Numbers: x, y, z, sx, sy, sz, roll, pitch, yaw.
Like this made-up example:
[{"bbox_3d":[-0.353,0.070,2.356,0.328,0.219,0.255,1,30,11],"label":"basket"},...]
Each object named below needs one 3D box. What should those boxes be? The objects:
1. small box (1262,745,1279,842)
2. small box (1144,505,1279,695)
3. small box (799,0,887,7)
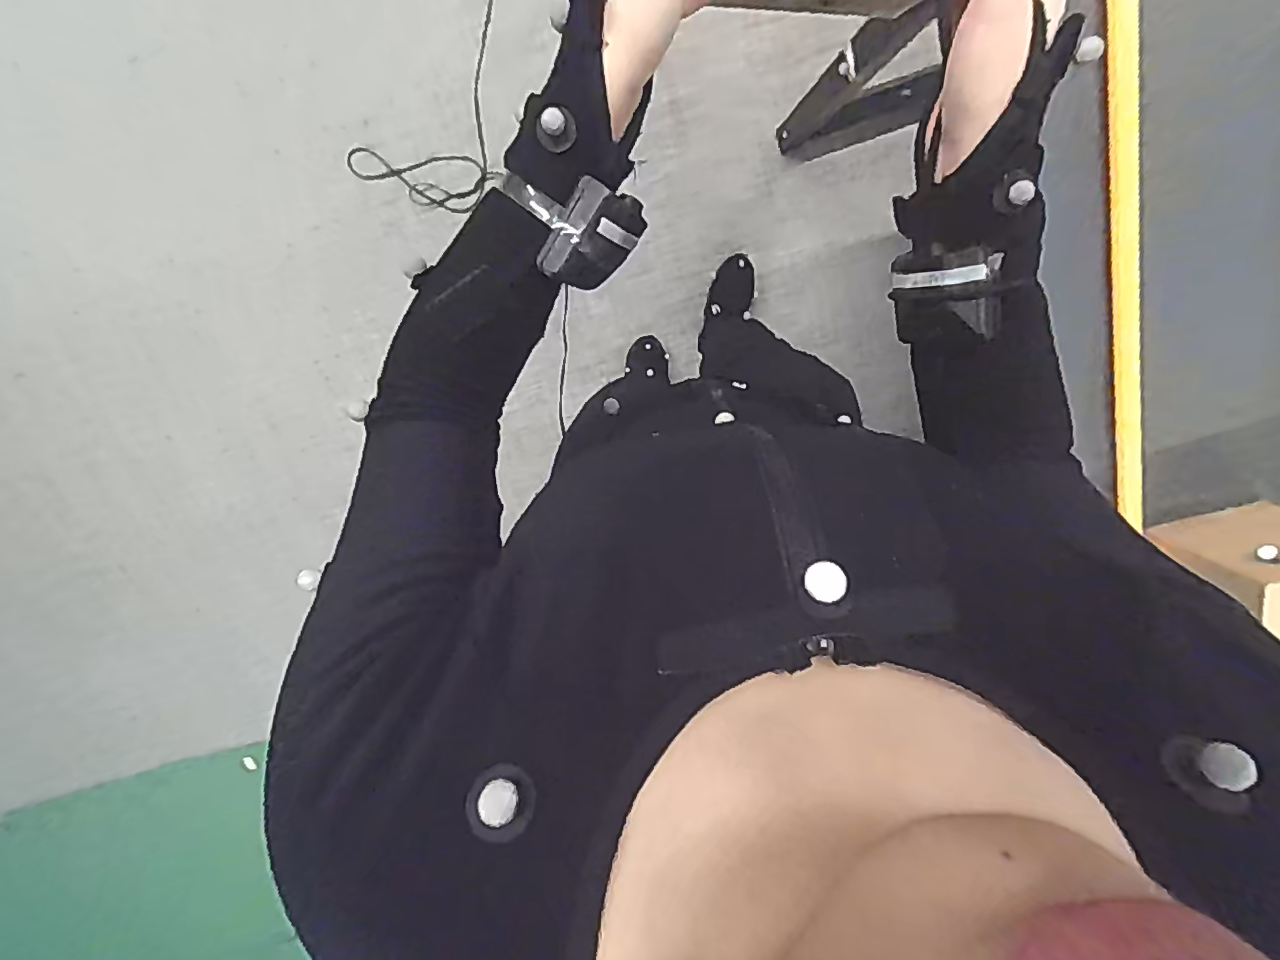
[{"bbox_3d":[0.900,0.407,0.628,0.168,0.176,0.179,-12,107,3],"label":"small box"},{"bbox_3d":[0.830,0.150,0.721,0.179,0.176,0.168,-14,107,3],"label":"small box"},{"bbox_3d":[0.107,-0.394,0.298,0.168,0.176,0.179,2,118,0],"label":"small box"}]
